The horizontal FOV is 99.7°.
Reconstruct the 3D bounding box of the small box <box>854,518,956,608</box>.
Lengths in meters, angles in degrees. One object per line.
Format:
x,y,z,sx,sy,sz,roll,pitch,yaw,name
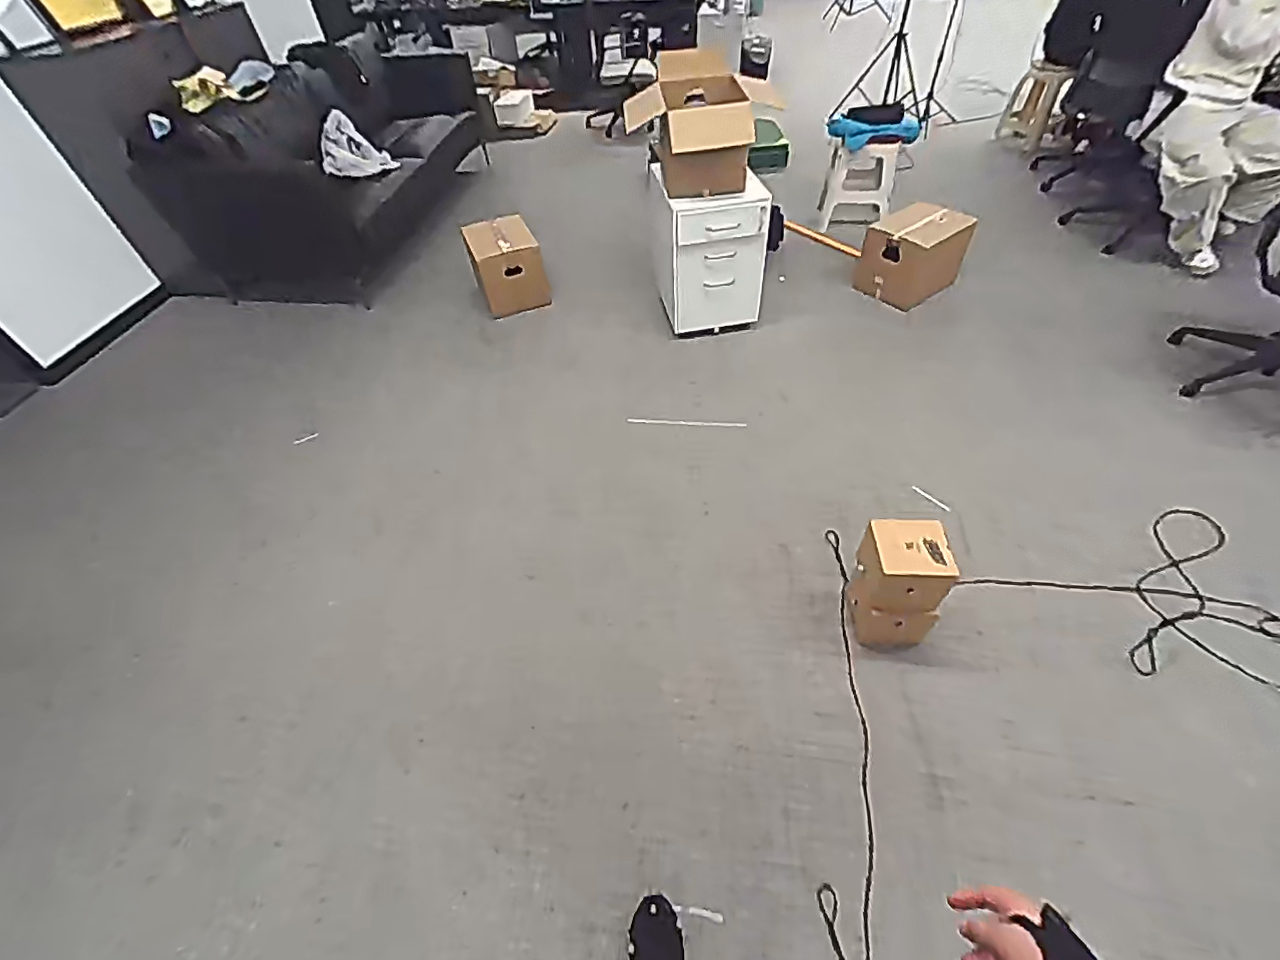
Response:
0.669,0.215,1.387,0.179,0.176,0.168,0,47,7,small box

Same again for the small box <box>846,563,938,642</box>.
0.683,0.338,1.496,0.179,0.176,0.168,-2,48,3,small box
